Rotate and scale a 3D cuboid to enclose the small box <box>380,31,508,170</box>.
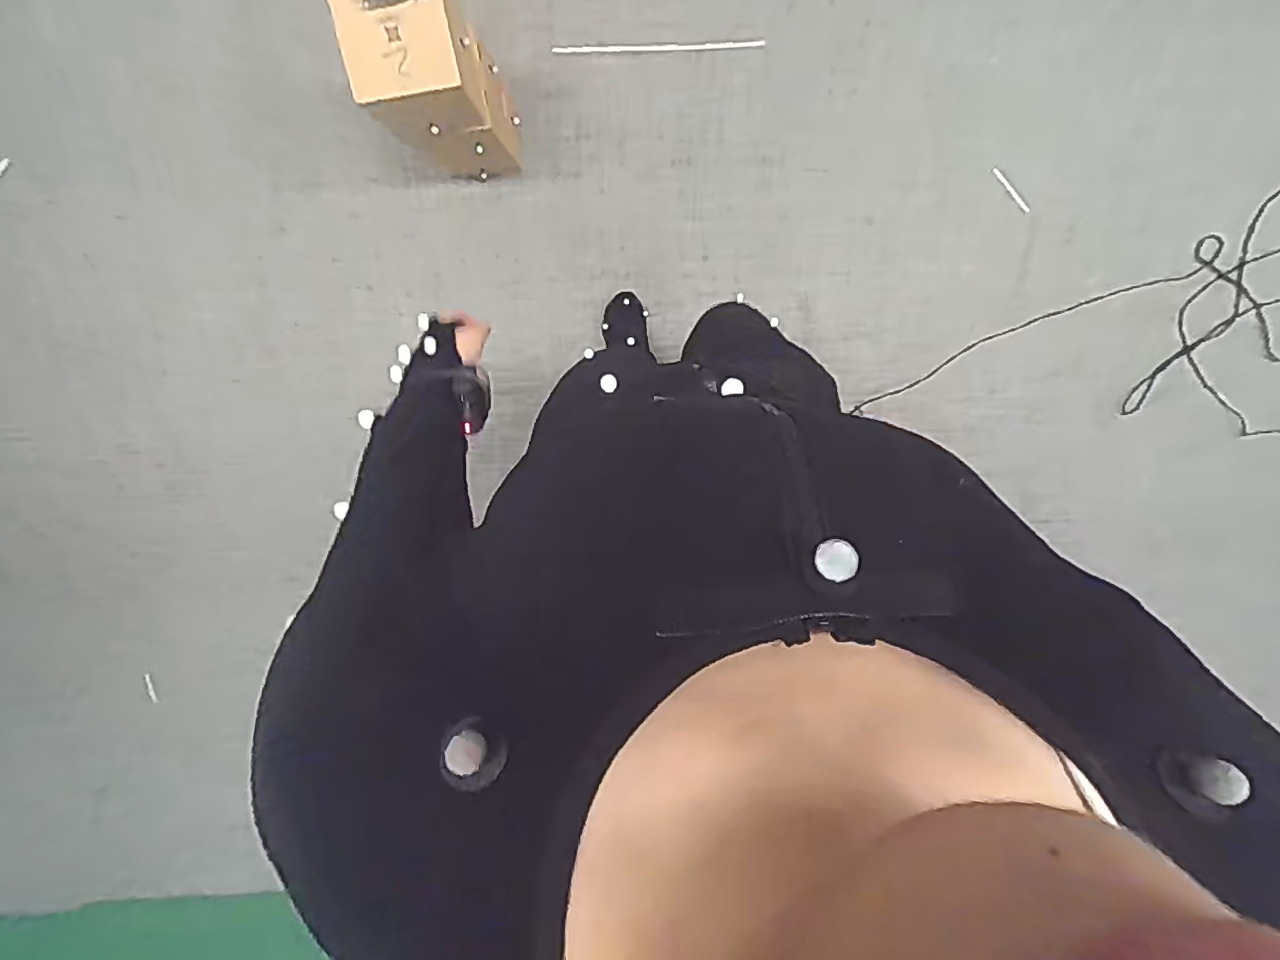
[{"bbox_3d":[-0.363,-0.719,1.043,0.179,0.176,0.168,-6,105,2],"label":"small box"}]

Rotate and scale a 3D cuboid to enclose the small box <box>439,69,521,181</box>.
[{"bbox_3d":[-0.366,-0.775,1.196,0.179,0.176,0.168,-4,106,0],"label":"small box"}]
